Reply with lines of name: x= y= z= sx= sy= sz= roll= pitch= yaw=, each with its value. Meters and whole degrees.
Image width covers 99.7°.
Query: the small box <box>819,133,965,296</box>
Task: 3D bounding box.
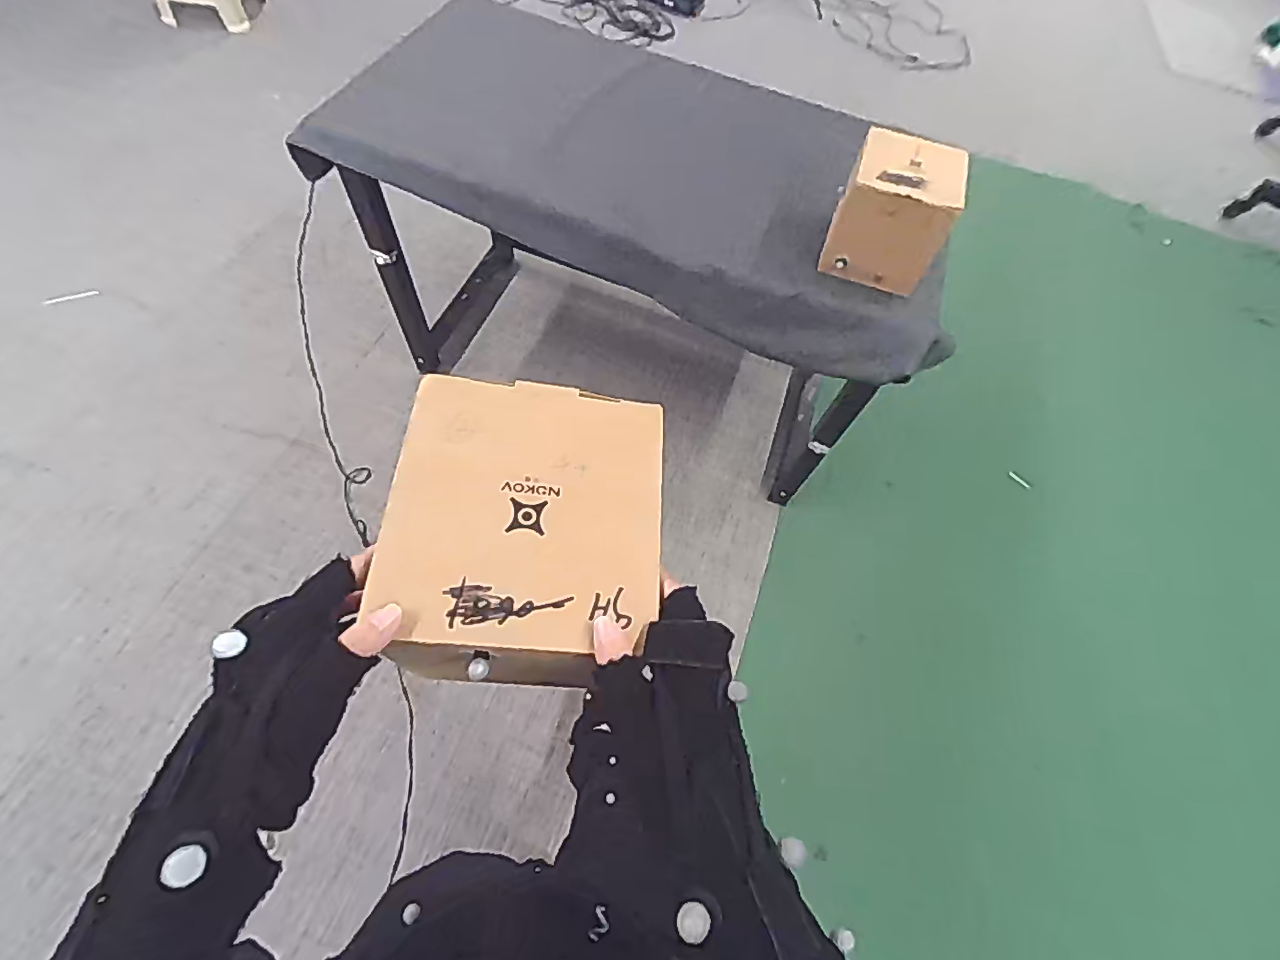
small box: x=0.426 y=-0.450 z=0.931 sx=0.168 sy=0.176 sz=0.179 roll=20 pitch=61 yaw=7

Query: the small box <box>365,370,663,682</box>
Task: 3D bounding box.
small box: x=-0.081 y=0.046 z=0.413 sx=0.168 sy=0.176 sz=0.179 roll=6 pitch=62 yaw=-7
